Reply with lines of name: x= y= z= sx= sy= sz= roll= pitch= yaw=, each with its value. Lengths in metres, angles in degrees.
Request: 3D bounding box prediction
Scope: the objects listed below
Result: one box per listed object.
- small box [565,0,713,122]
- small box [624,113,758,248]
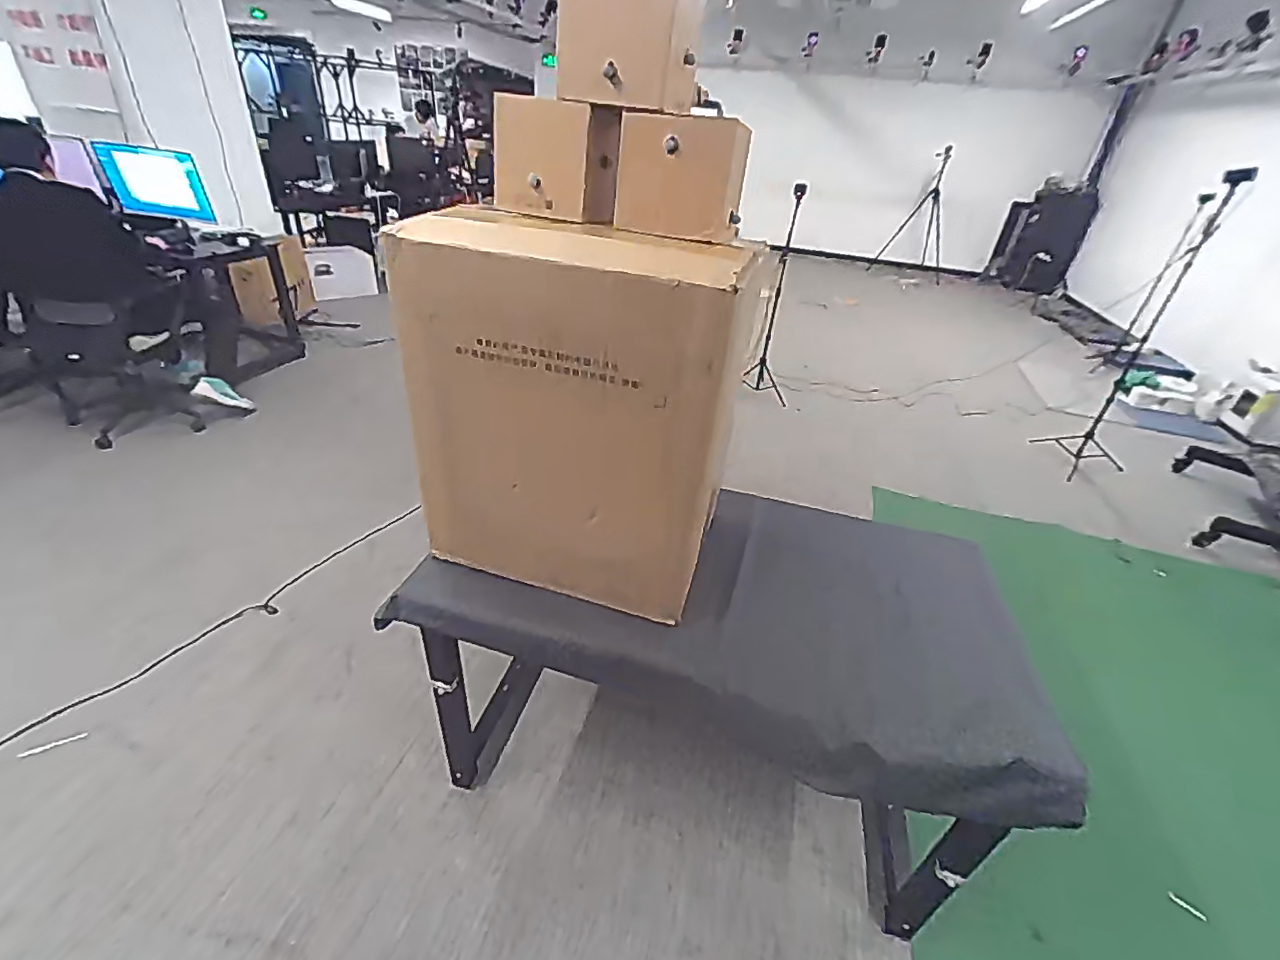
small box: x=-0.002 y=-0.658 z=0.838 sx=0.179 sy=0.176 sz=0.168 roll=16 pitch=29 yaw=12
small box: x=0.082 y=-0.486 z=0.891 sx=0.179 sy=0.176 sz=0.168 roll=15 pitch=31 yaw=11
